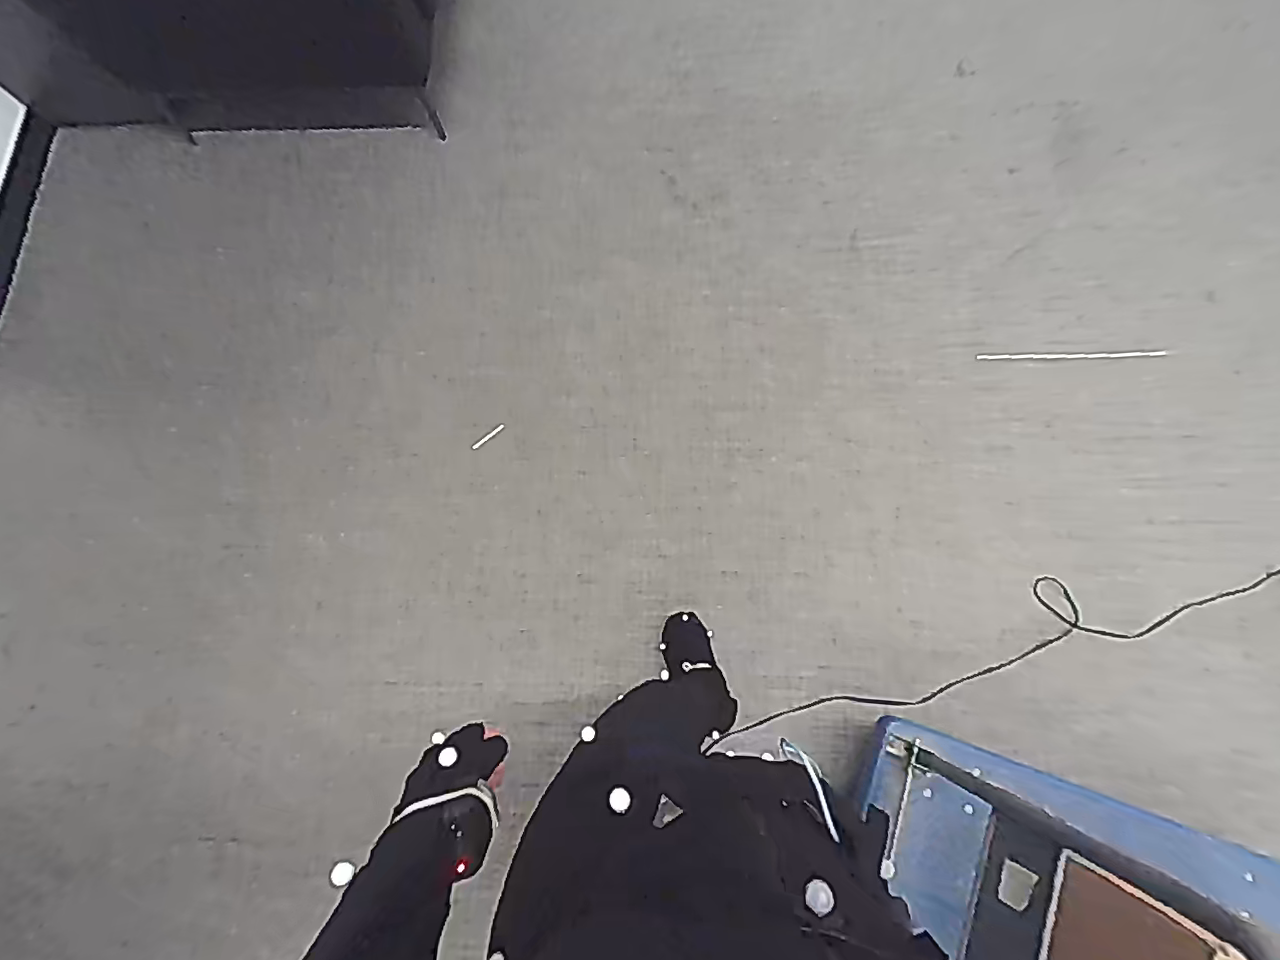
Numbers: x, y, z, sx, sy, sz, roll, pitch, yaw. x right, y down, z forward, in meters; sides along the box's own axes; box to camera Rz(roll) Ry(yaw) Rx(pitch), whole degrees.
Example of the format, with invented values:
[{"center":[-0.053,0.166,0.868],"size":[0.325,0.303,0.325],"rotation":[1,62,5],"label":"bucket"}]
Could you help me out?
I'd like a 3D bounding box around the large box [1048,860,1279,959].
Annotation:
[{"center":[0.867,0.894,0.811],"size":[0.320,0.320,0.408],"rotation":[15,76,6],"label":"large box"}]
